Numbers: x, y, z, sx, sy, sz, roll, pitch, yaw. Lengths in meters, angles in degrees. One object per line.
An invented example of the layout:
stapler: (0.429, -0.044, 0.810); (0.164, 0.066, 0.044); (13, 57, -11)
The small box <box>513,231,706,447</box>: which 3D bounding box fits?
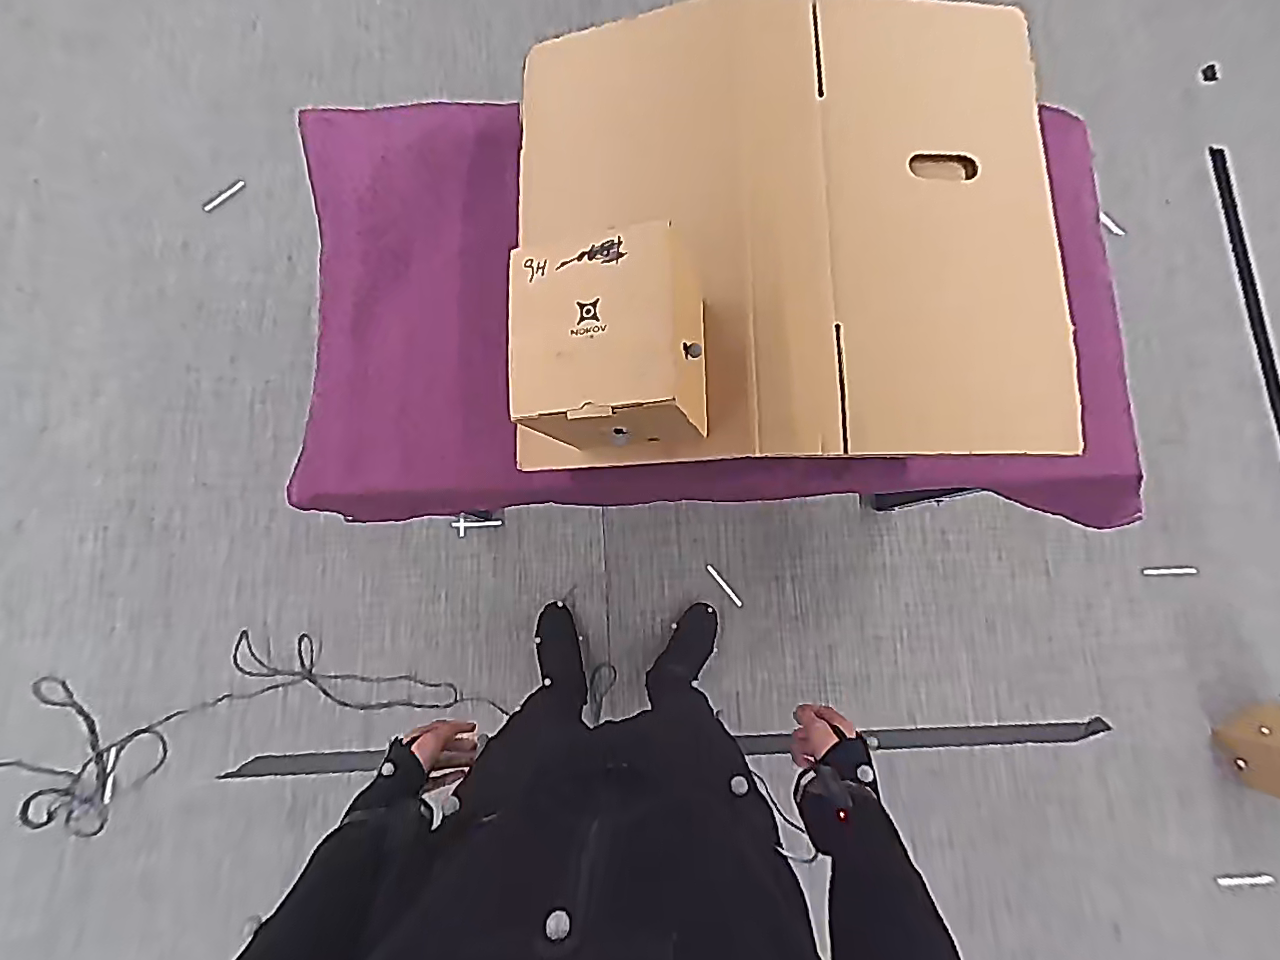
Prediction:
small box: (-0.023, -0.134, 0.589); (0.168, 0.176, 0.179); (-3, 83, 16)
